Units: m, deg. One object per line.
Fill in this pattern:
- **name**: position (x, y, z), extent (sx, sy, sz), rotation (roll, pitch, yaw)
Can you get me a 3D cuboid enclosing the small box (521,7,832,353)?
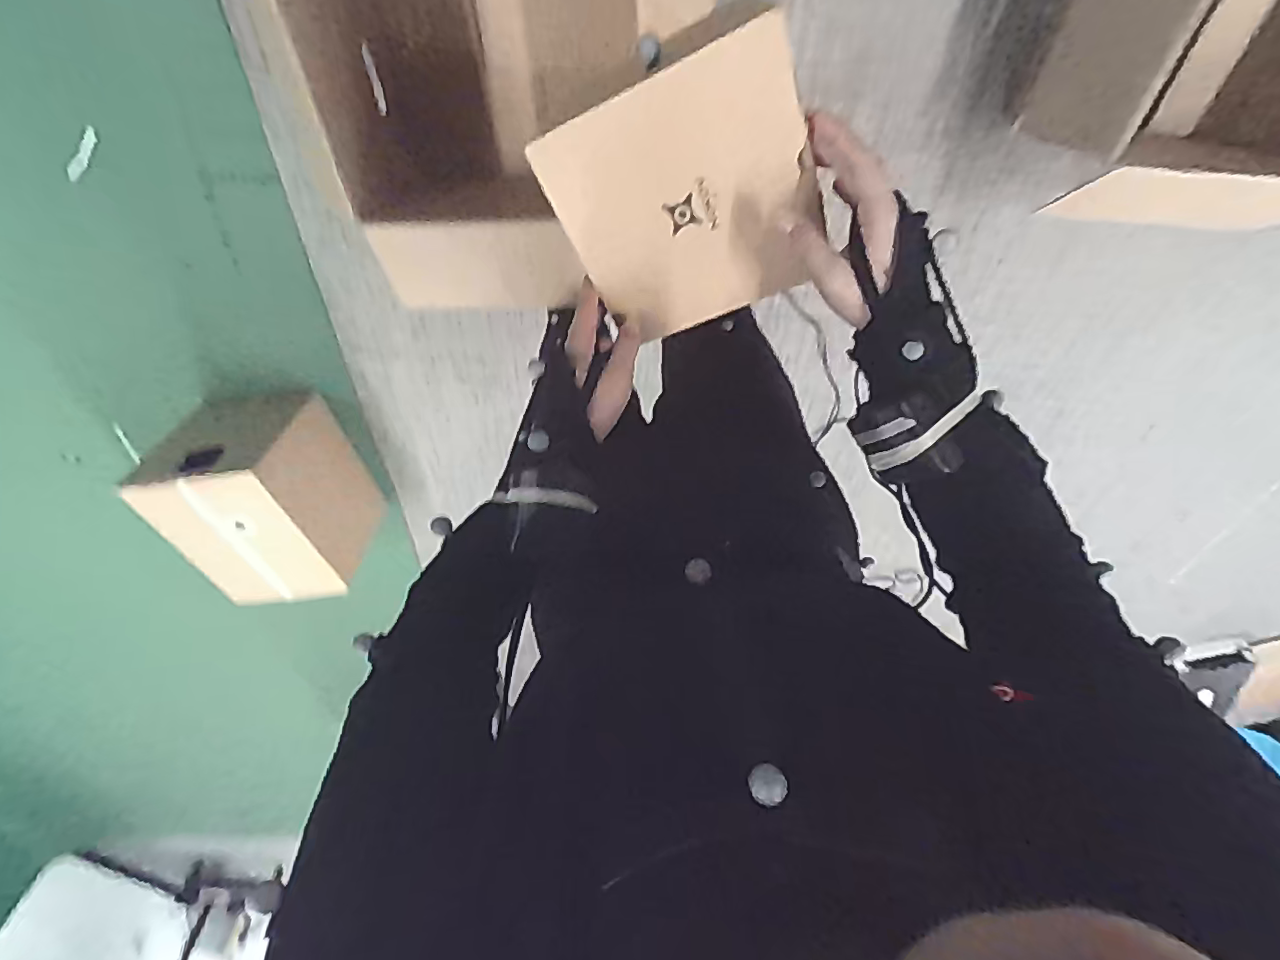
- **small box**: position (0.035, -0.235, 0.431), extent (0.179, 0.176, 0.168), rotation (-17, 130, 17)
